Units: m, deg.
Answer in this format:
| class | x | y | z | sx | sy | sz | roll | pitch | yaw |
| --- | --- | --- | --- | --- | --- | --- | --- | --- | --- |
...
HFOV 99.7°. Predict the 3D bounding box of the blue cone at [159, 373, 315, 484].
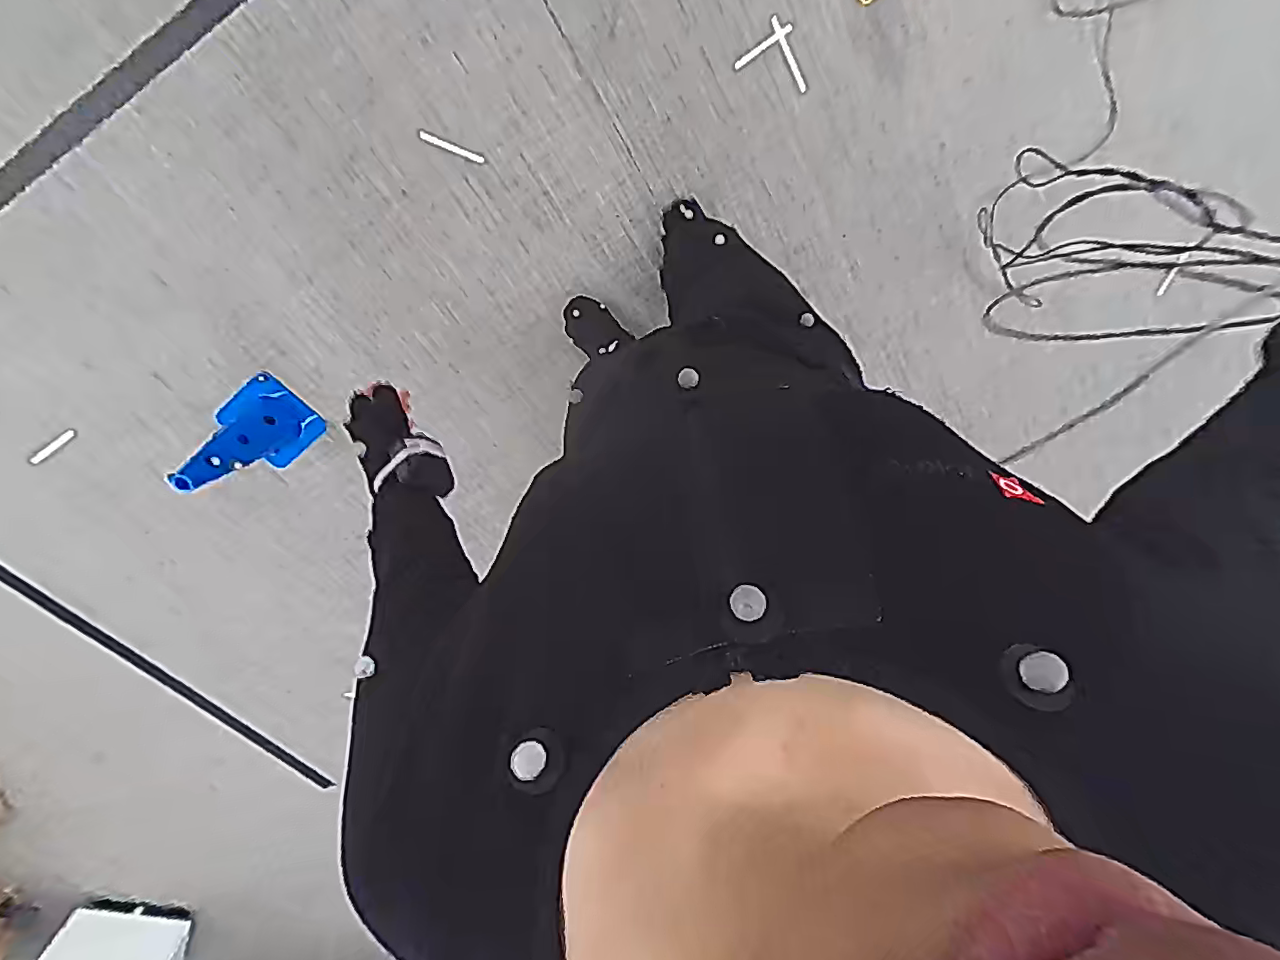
| class | x | y | z | sx | sy | sz | roll | pitch | yaw |
| --- | --- | --- | --- | --- | --- | --- | --- | --- | --- |
| blue cone | -0.933 | -0.081 | 1.228 | 0.193 | 0.380 | 0.192 | -36 | 114 | 11 |
